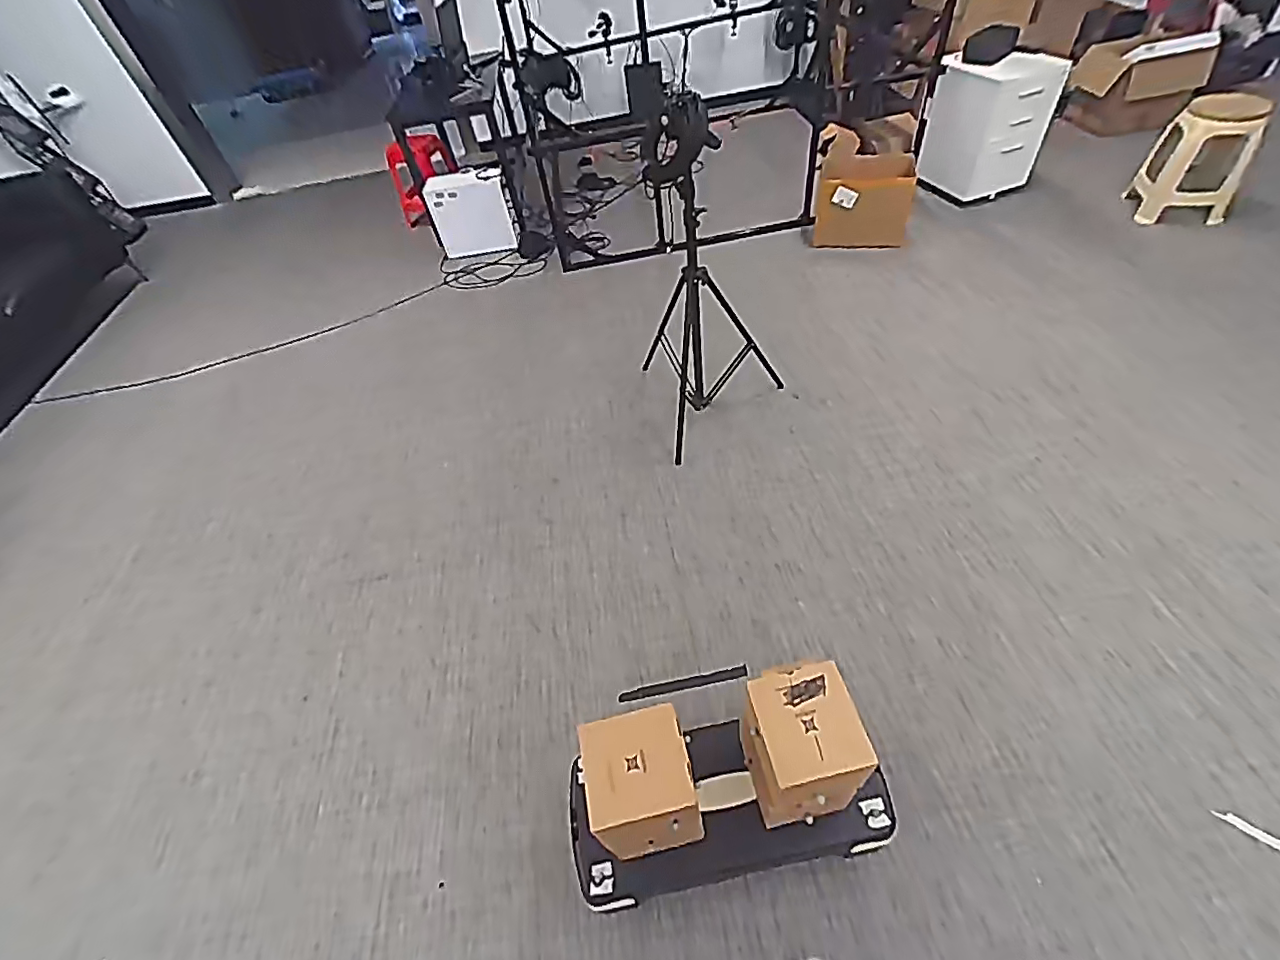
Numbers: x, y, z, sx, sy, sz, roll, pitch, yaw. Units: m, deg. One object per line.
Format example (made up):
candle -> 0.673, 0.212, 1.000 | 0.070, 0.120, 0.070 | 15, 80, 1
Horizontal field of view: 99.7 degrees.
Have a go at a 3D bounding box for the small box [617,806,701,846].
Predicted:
small box -> 0.021, 0.633, 1.087 | 0.179, 0.176, 0.168 | -14, 49, -2

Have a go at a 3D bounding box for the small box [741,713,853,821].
small box -> 0.304, 0.570, 1.093 | 0.168, 0.176, 0.179 | -13, 49, -1

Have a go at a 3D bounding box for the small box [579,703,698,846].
small box -> 0.000, 0.527, 0.964 | 0.179, 0.176, 0.168 | -14, 48, -3

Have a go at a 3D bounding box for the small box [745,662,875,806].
small box -> 0.291, 0.458, 0.973 | 0.168, 0.176, 0.179 | -14, 49, -1
